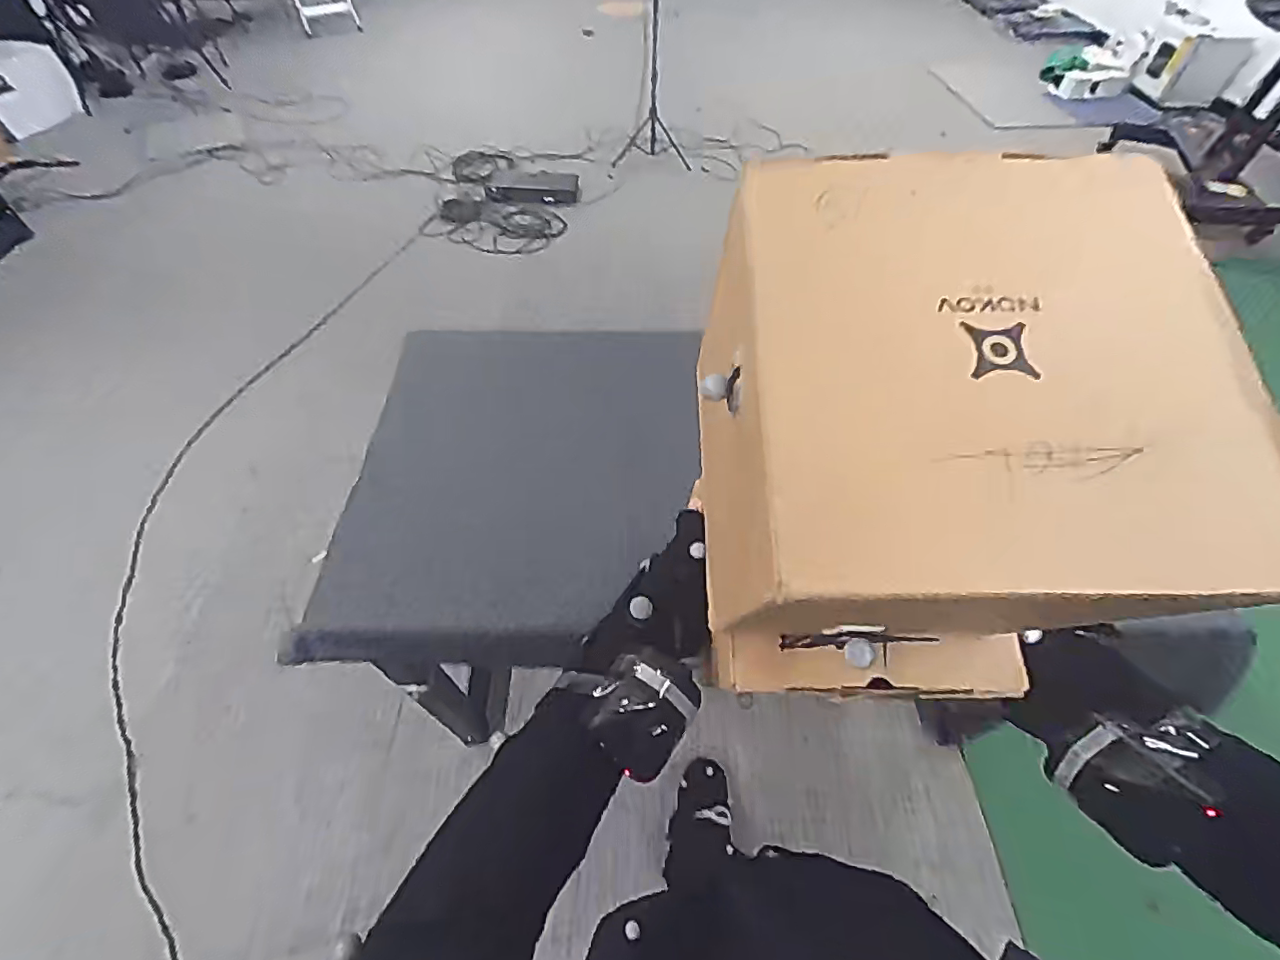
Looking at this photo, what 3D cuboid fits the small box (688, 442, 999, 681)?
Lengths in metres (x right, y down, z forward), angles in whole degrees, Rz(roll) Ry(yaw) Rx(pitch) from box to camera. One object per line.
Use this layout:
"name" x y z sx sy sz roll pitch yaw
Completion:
"small box" 0.128 0.056 0.419 0.168 0.176 0.179 -3 71 0

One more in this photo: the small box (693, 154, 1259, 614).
"small box" 0.118 -0.030 0.277 0.168 0.176 0.179 -1 71 1
